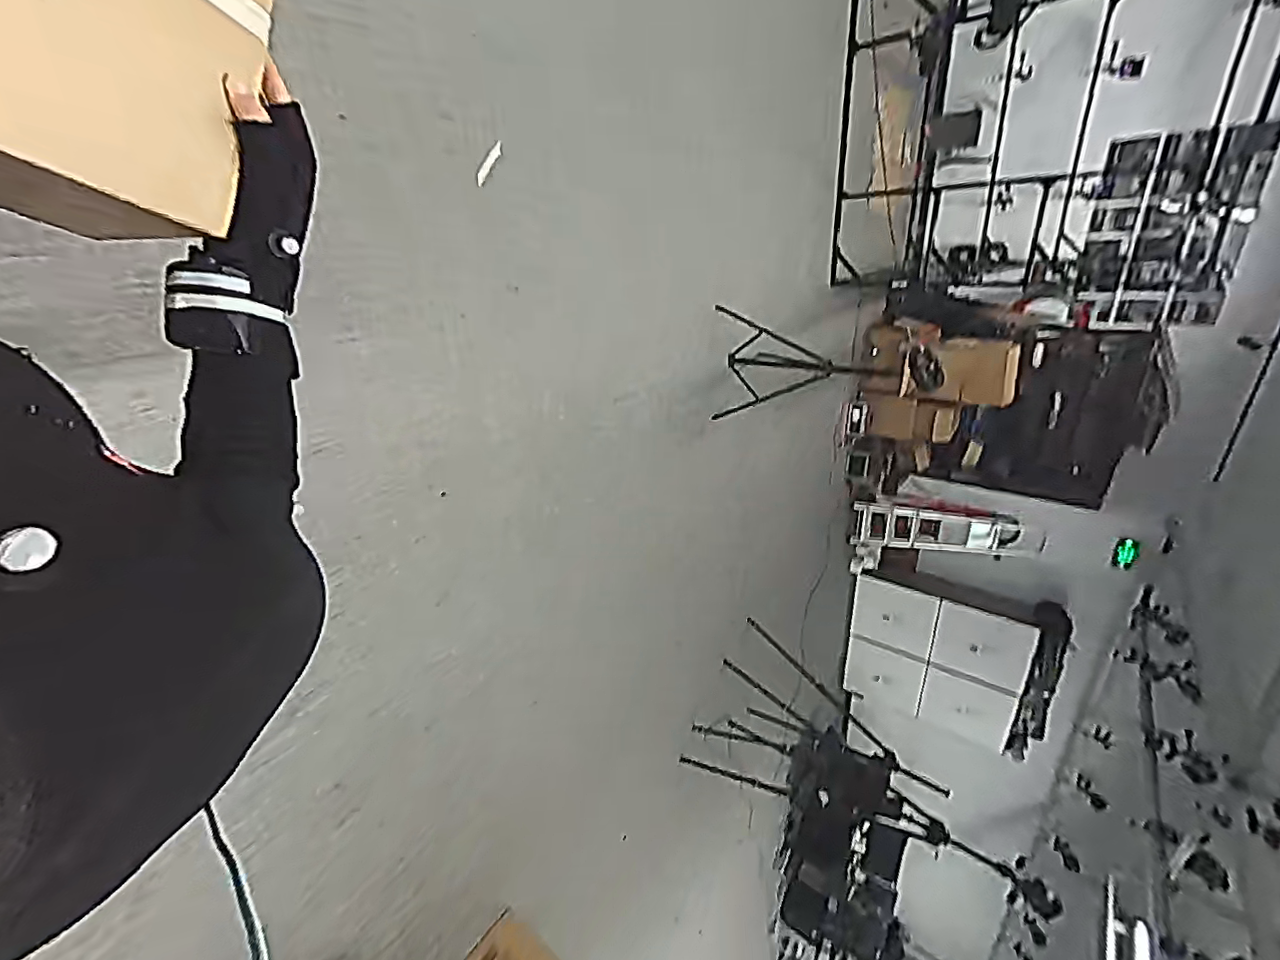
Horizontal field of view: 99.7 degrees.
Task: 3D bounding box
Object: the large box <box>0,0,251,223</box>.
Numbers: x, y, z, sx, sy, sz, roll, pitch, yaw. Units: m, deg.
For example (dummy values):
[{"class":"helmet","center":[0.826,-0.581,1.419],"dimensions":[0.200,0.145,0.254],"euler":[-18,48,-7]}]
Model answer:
[{"class":"large box","center":[-0.517,-0.393,0.309],"dimensions":[0.408,0.320,0.320],"euler":[7,97,-59]}]
